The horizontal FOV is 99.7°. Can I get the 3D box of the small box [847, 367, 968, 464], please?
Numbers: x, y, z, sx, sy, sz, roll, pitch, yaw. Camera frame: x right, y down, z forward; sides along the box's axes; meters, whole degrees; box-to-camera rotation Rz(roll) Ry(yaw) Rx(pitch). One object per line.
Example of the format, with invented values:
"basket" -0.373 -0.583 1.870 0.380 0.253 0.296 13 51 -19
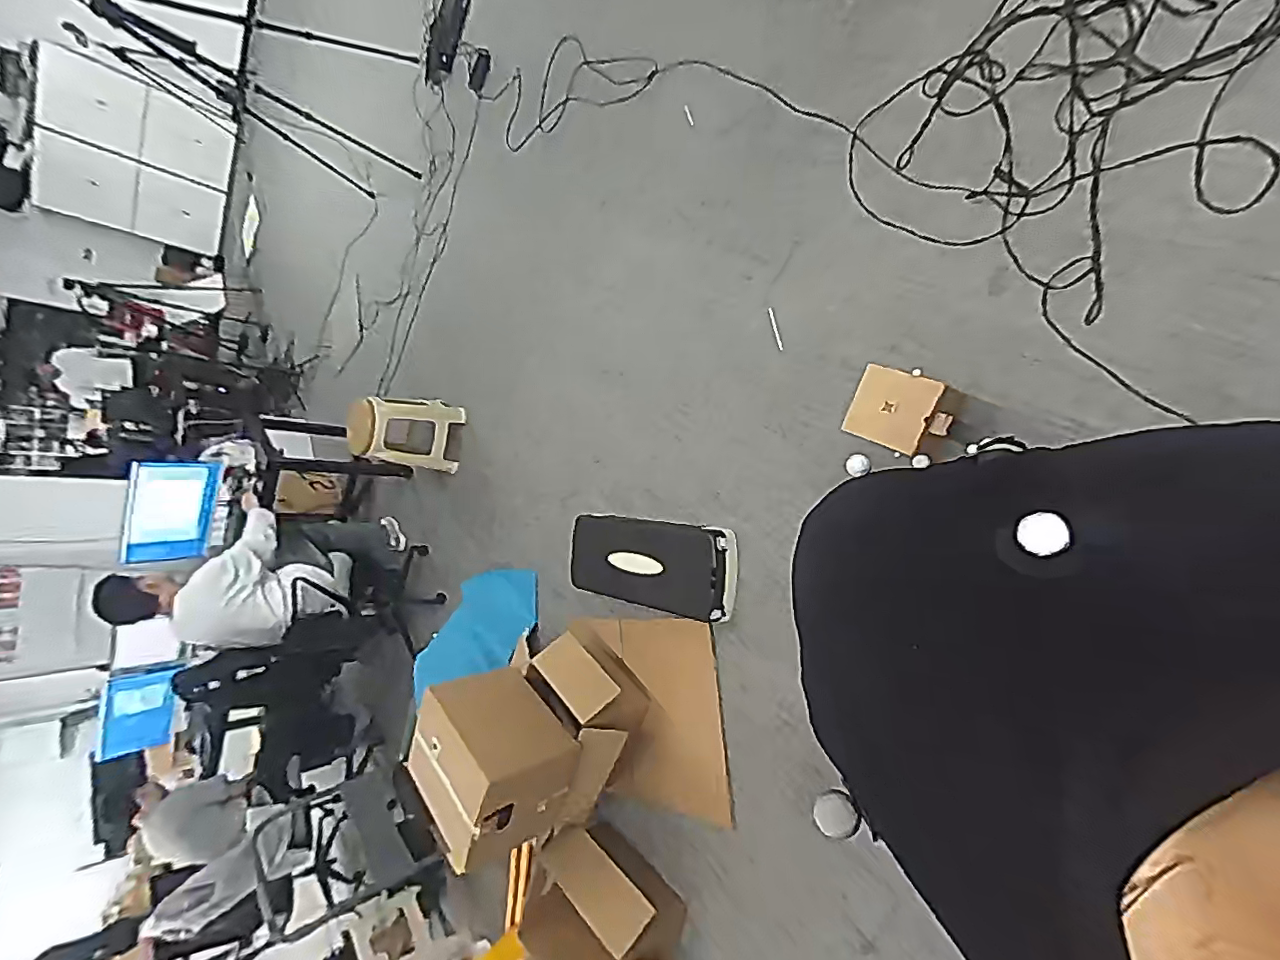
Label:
"small box" 0.621 -0.144 1.251 0.179 0.176 0.168 30 106 39
